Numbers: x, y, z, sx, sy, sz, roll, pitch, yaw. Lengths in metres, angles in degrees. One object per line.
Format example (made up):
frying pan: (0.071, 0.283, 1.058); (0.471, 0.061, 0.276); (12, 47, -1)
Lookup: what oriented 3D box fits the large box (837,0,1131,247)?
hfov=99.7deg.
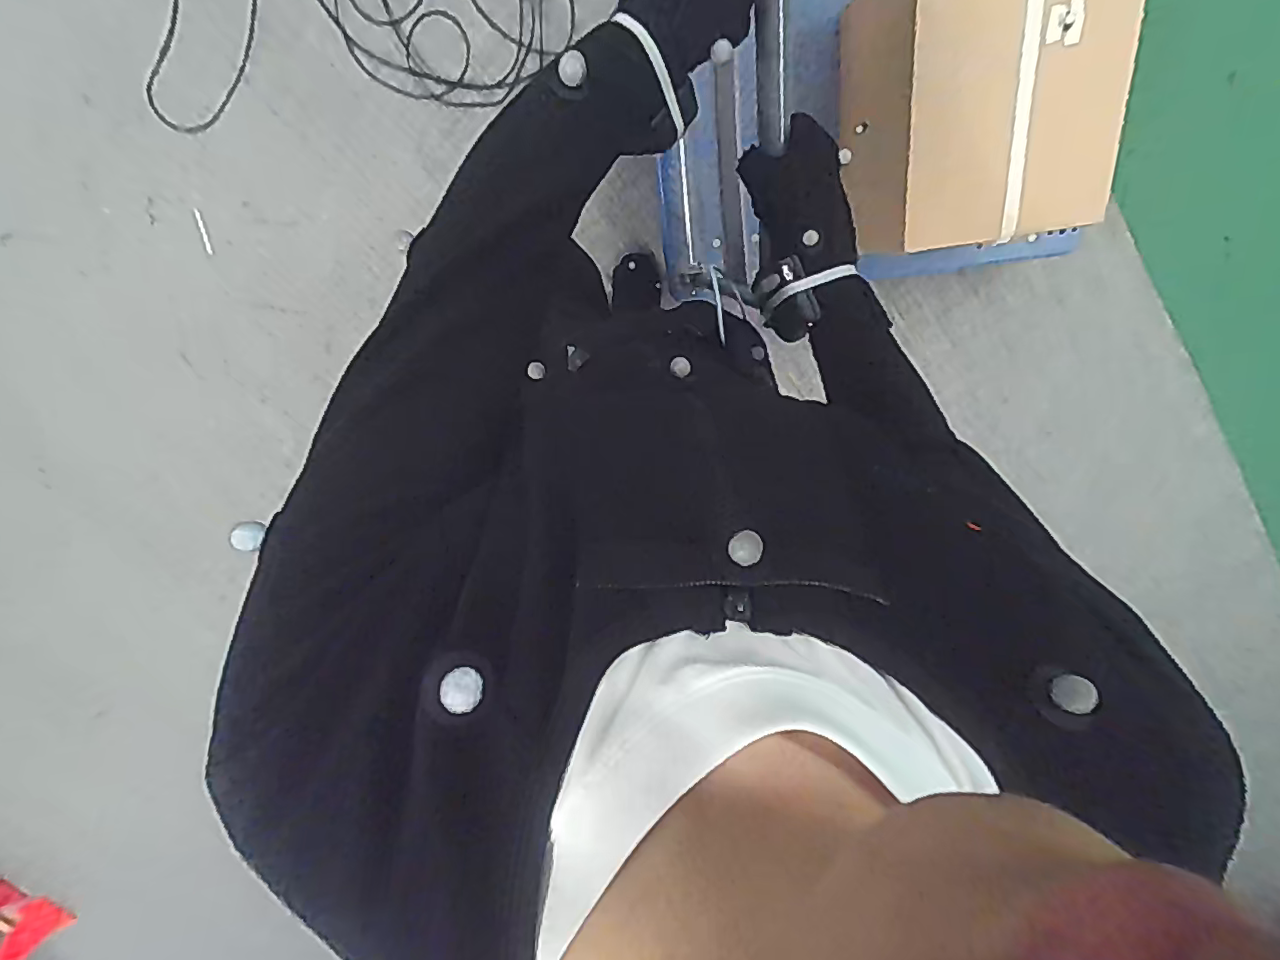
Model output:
large box: (0.538, -0.636, 0.919); (0.320, 0.320, 0.408); (-8, 113, 2)
